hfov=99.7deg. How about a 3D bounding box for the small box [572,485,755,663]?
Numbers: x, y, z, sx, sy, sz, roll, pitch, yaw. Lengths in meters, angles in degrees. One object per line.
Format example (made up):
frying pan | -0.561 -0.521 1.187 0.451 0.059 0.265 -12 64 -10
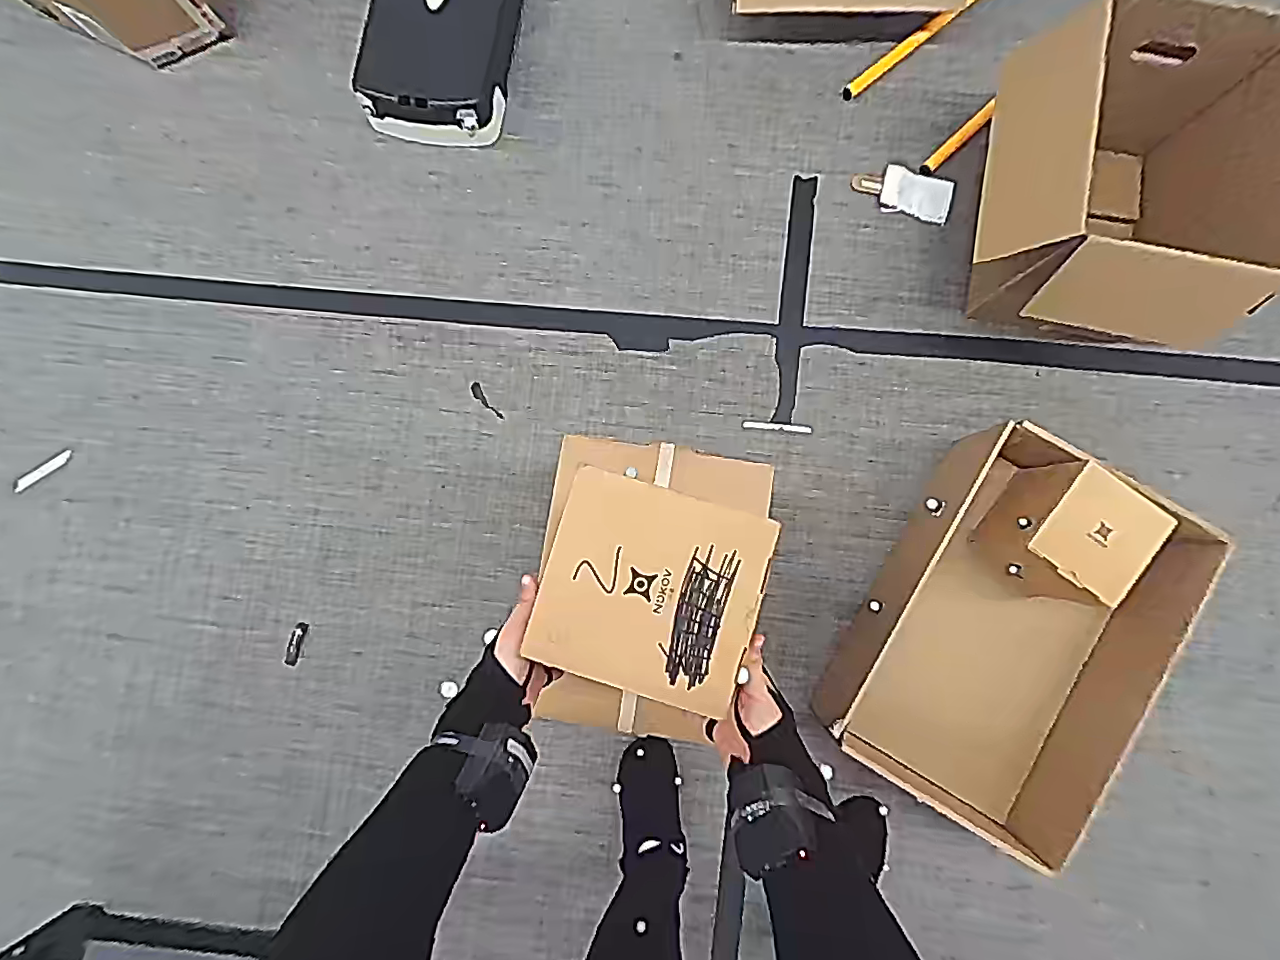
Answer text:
small box | 0.029 0.110 0.673 0.179 0.176 0.168 12 86 3

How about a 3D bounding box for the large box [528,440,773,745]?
large box | 0.021 0.163 0.915 0.320 0.320 0.408 8 86 4
